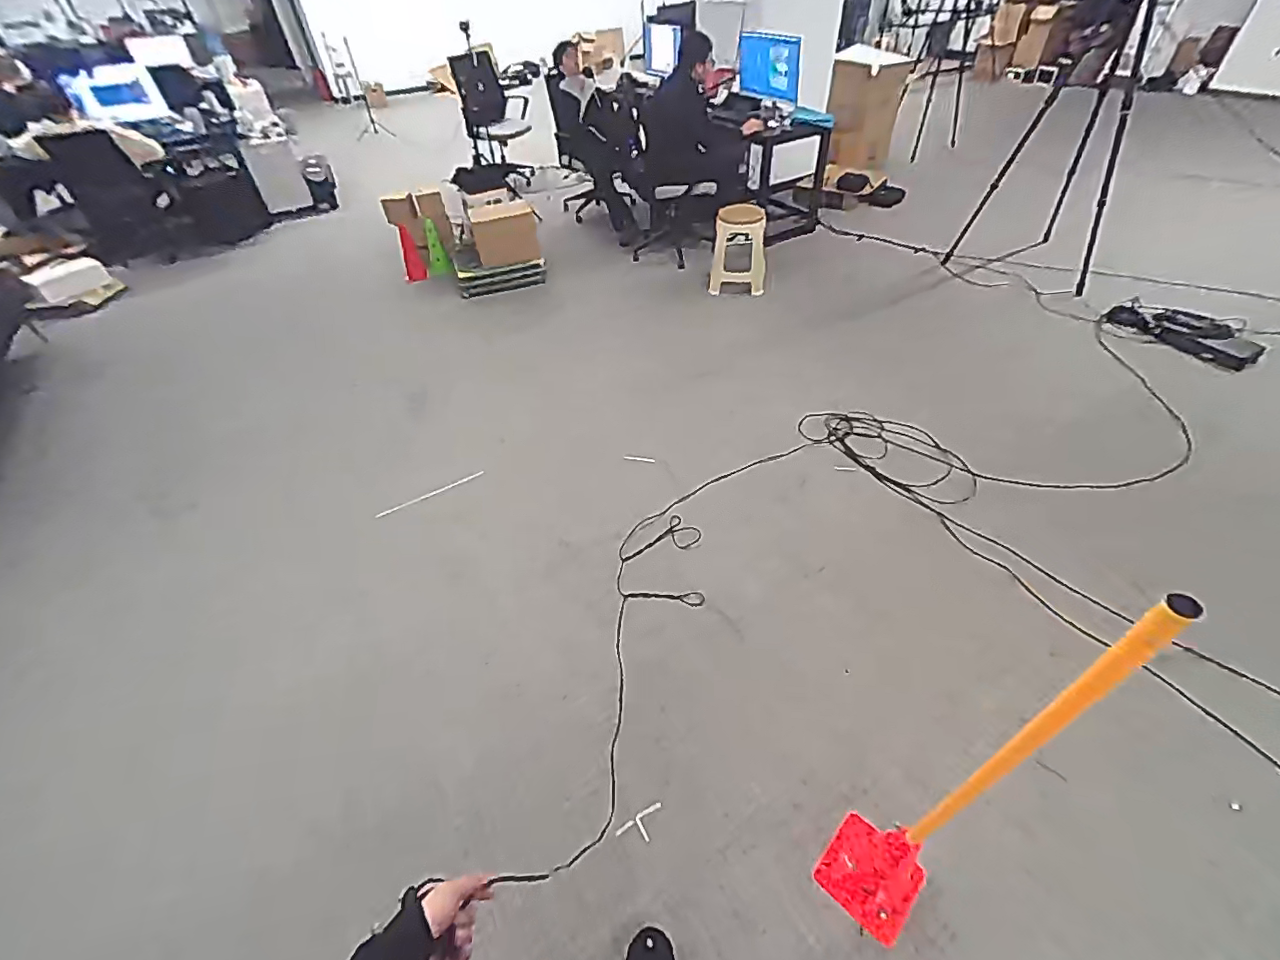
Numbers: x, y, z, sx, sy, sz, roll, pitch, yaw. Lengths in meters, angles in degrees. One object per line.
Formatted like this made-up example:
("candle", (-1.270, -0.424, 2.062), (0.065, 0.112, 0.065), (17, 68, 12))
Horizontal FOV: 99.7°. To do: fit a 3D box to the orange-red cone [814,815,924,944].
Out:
("orange-red cone", (0.538, 0.820, 1.172), (0.199, 0.360, 0.198), (-35, 53, -29))
